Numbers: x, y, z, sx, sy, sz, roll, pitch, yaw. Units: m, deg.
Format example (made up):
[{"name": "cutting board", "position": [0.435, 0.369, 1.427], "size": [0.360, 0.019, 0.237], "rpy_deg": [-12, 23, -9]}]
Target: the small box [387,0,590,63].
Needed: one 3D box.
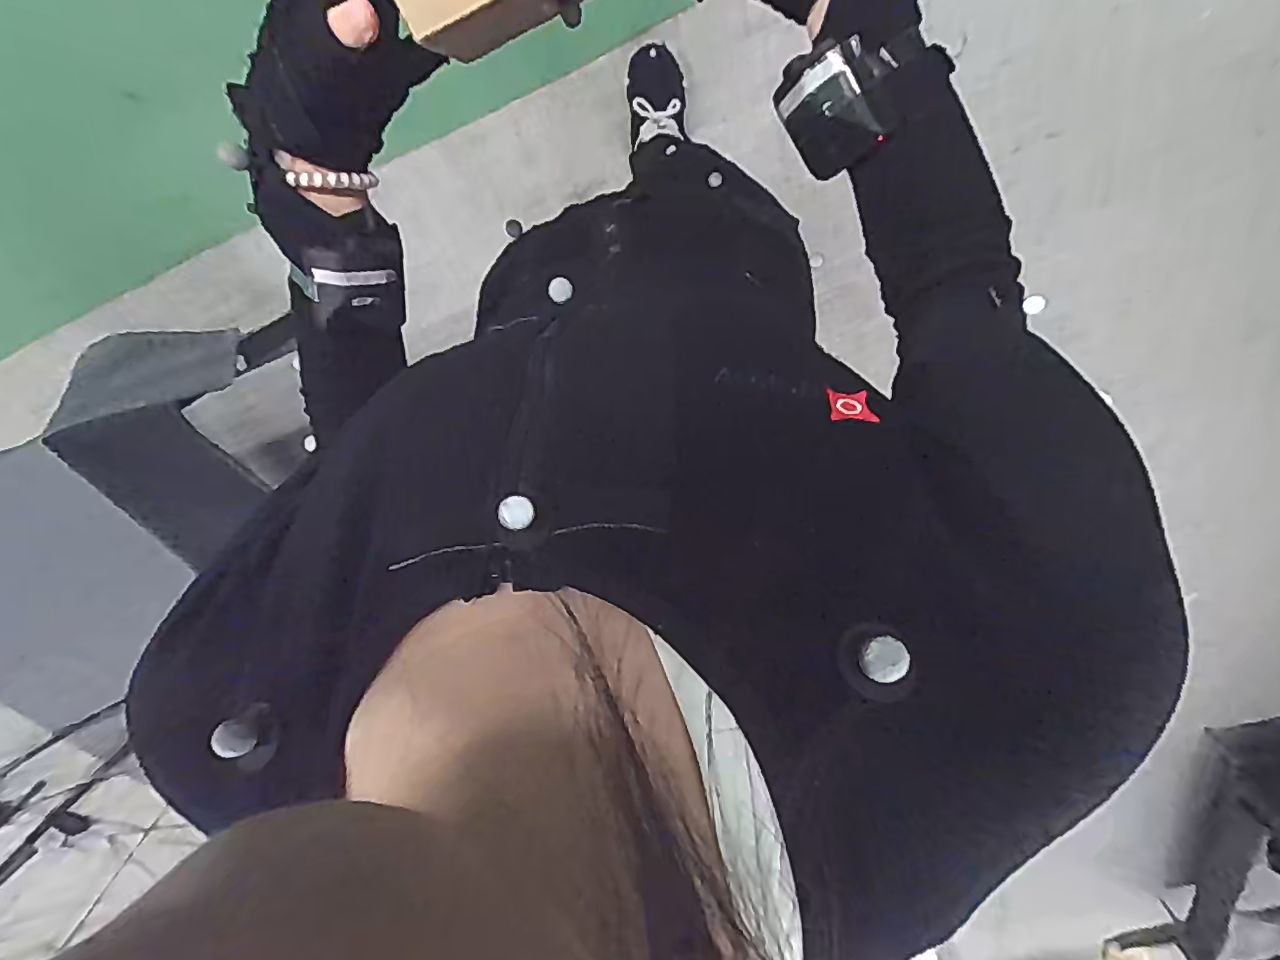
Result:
[{"name": "small box", "position": [-0.069, -0.333, 0.254], "size": [0.168, 0.176, 0.179], "rpy_deg": [-22, 126, 7]}]
